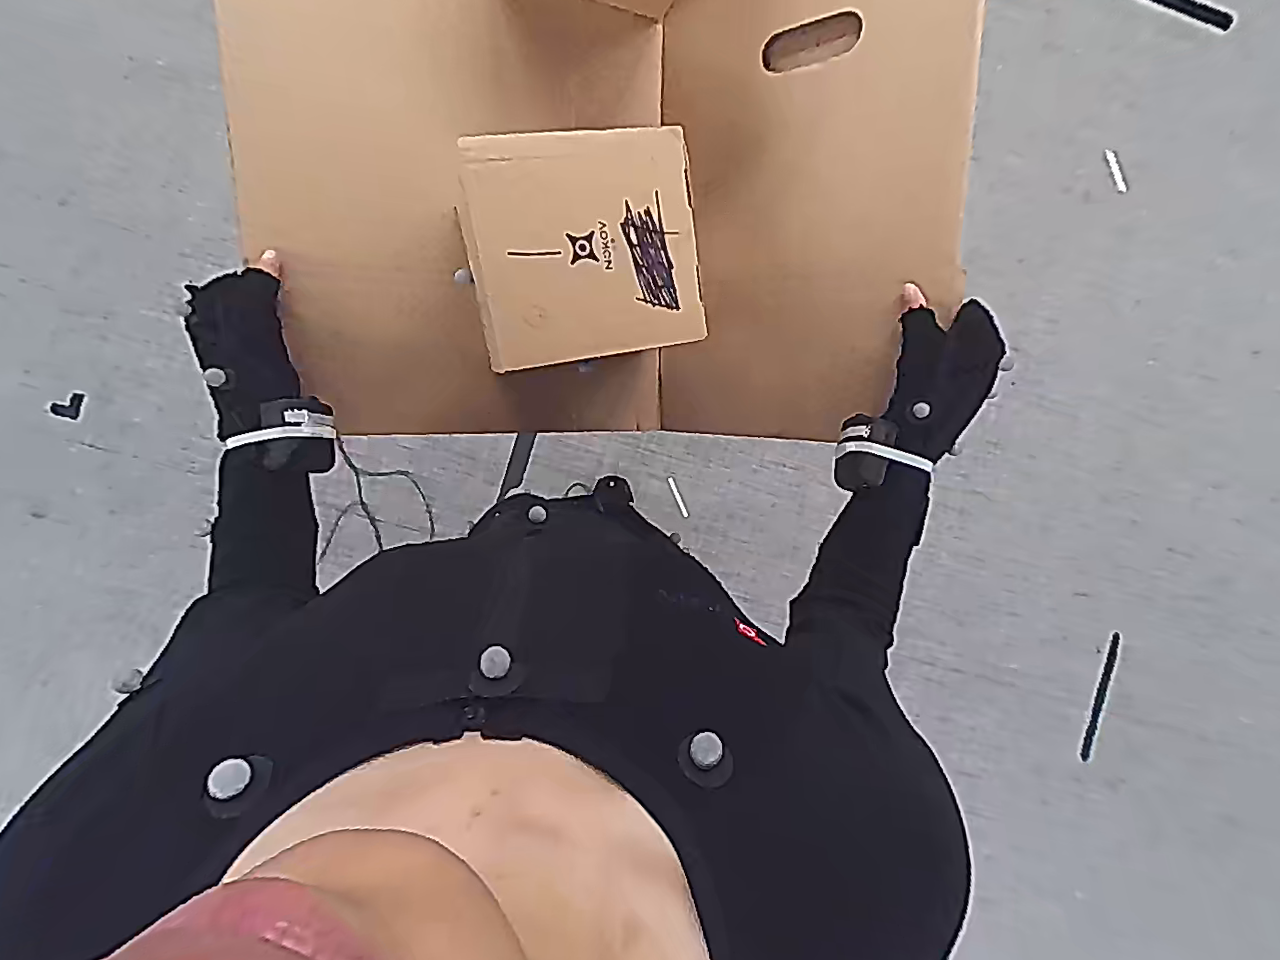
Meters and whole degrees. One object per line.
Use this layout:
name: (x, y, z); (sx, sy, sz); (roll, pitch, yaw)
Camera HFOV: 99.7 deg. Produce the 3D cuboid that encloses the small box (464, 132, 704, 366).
small box: (-0.060, -0.201, 0.504); (0.179, 0.176, 0.168); (-12, 104, -15)
